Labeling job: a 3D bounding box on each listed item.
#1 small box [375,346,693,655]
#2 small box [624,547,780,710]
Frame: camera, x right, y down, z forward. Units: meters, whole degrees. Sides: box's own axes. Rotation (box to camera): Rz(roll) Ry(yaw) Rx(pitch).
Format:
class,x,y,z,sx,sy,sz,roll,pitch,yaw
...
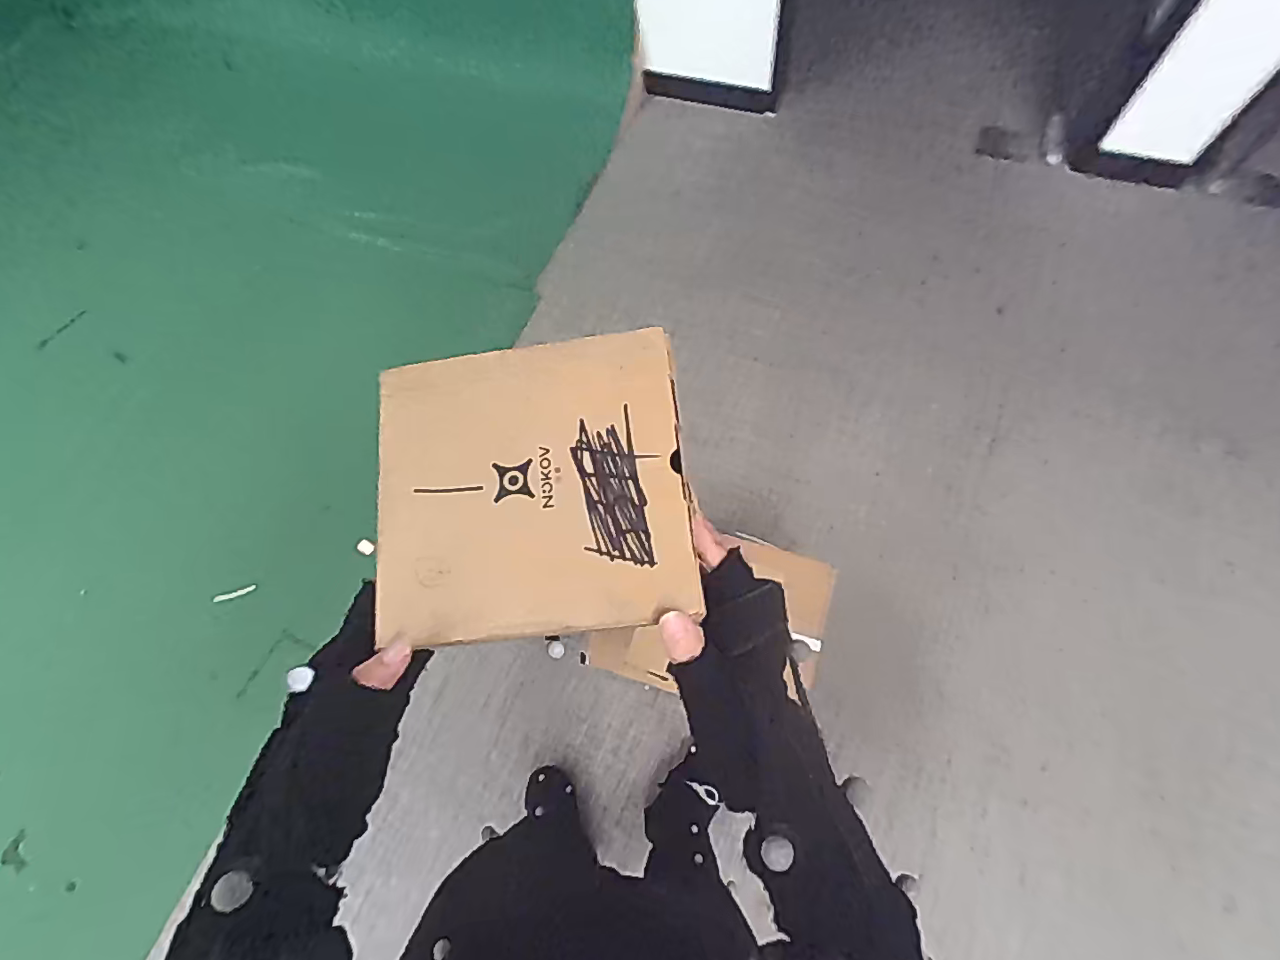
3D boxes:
class,x,y,z,sx,sy,sz,roll,pitch,yaw
small box,-0.060,0.027,0.386,0.179,0.176,0.168,-8,74,4
small box,0.093,0.209,0.777,0.168,0.176,0.179,16,74,13
